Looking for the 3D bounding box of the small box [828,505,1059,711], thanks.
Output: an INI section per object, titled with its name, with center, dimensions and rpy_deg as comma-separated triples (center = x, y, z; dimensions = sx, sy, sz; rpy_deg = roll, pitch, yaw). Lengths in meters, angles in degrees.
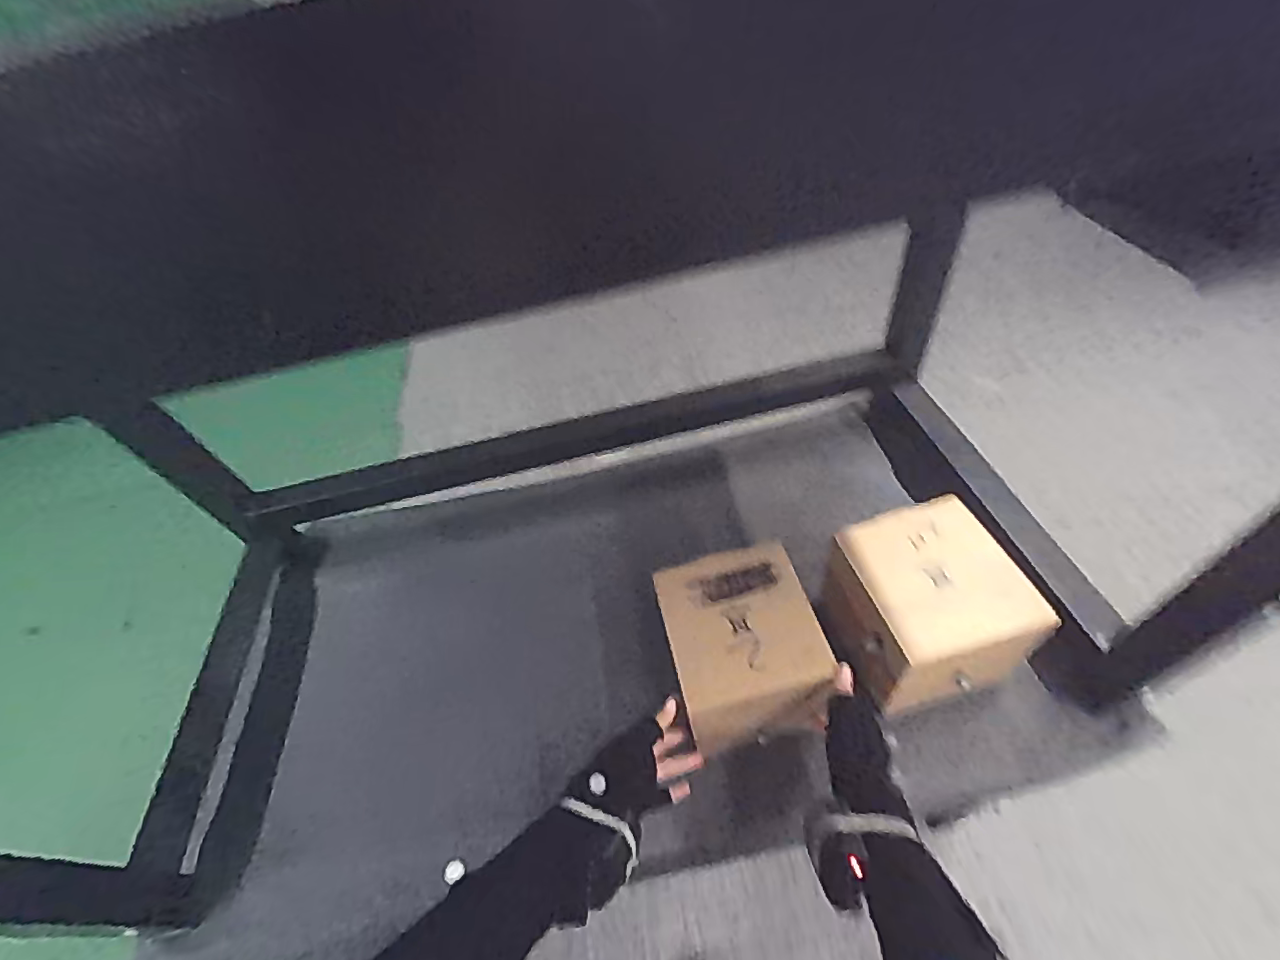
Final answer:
[small box]
center = 0.351, 0.165, 0.670
dimensions = 0.168, 0.176, 0.179
rpy_deg = -16, 48, -2
